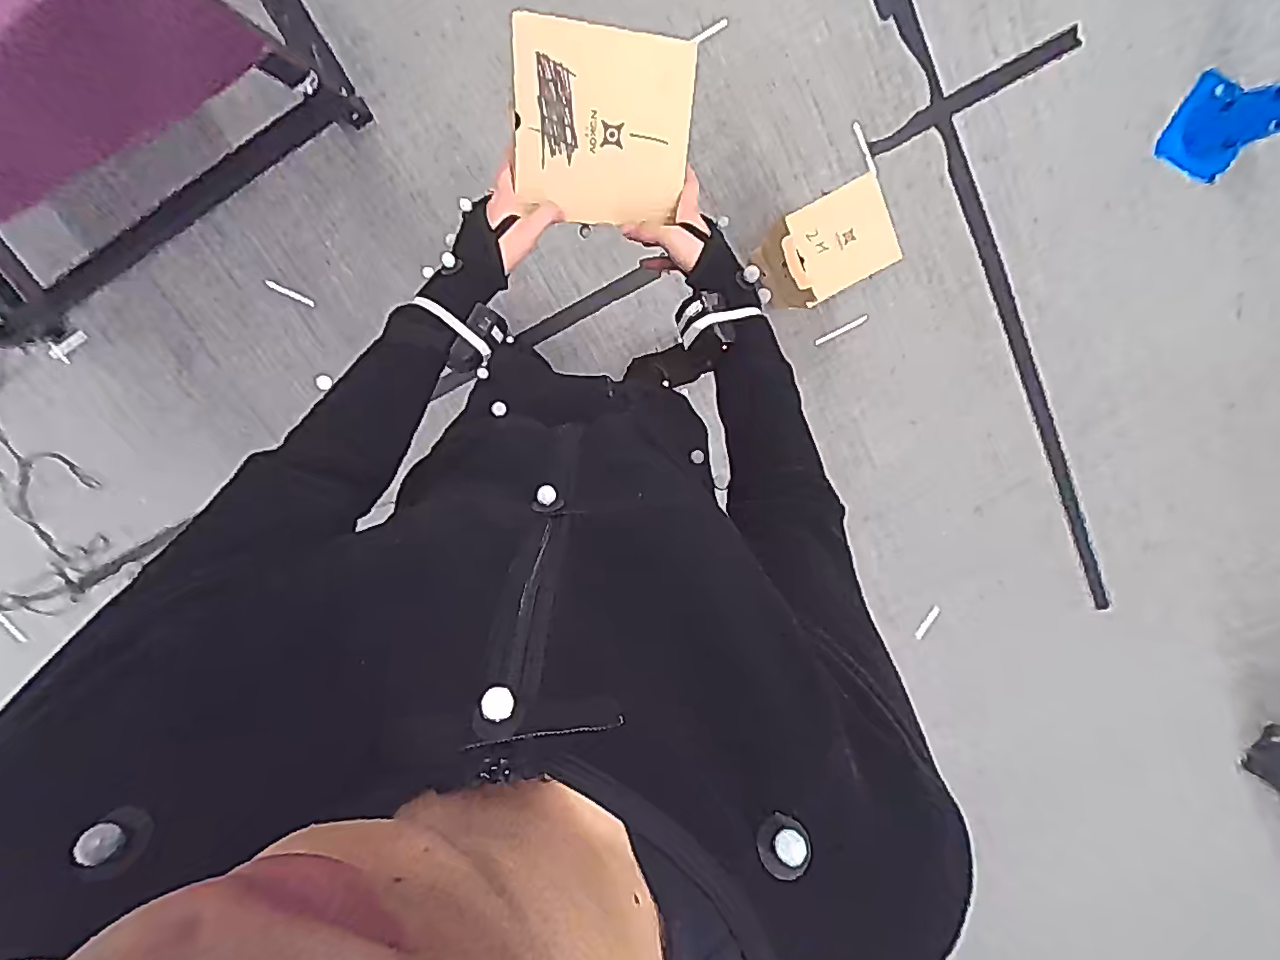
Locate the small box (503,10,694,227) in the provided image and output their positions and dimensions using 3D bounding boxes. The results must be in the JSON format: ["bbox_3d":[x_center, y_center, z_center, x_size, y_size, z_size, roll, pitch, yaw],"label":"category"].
[{"bbox_3d":[-0.051,-0.376,0.596,0.179,0.176,0.168,0,116,-9],"label":"small box"}]

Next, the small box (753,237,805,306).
[{"bbox_3d":[0.403,-0.560,1.379,0.179,0.176,0.168,-30,105,10],"label":"small box"}]

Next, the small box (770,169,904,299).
[{"bbox_3d":[0.377,-0.473,1.061,0.179,0.176,0.168,-25,106,9],"label":"small box"}]
